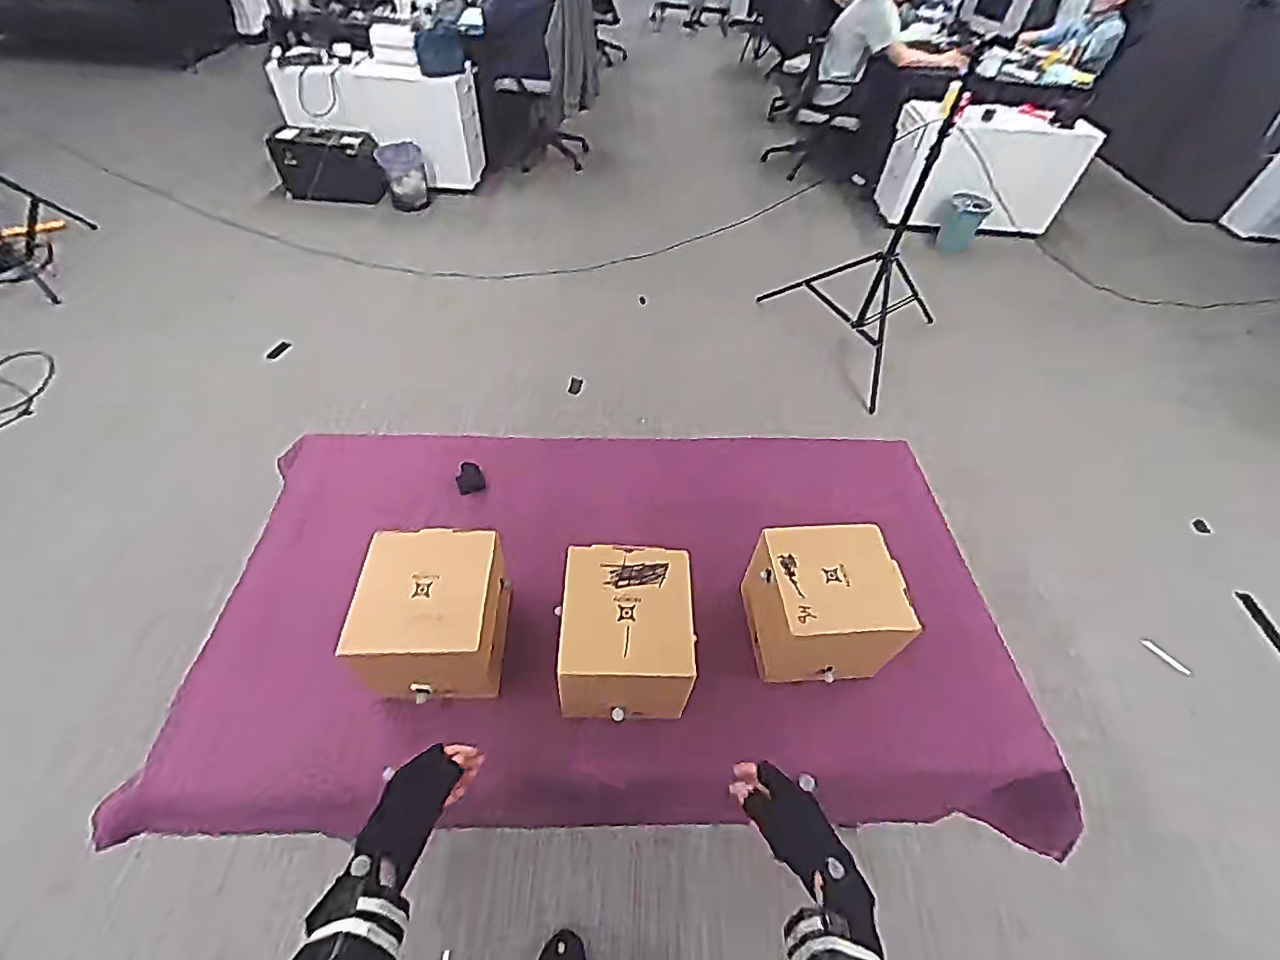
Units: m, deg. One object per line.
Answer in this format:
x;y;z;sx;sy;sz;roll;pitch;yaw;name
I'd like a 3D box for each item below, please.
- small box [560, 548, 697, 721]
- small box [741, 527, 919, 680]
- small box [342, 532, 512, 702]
-0.018;0.214;0.747;0.168;0.176;0.179;2;50;-3;small box
0.264;0.183;0.798;0.179;0.176;0.168;-1;49;-6;small box
-0.276;0.190;0.750;0.168;0.176;0.179;-1;50;-4;small box
